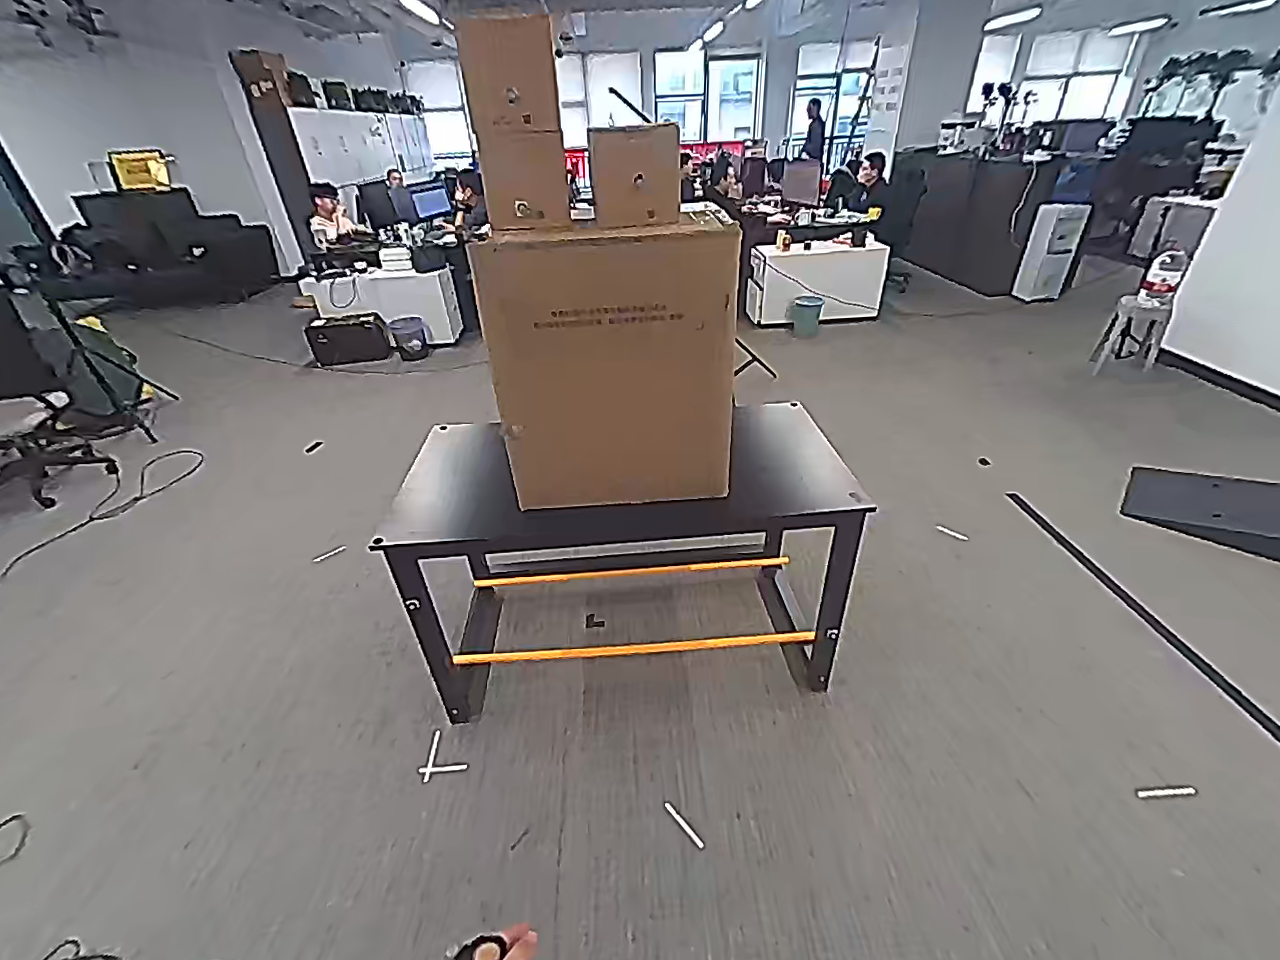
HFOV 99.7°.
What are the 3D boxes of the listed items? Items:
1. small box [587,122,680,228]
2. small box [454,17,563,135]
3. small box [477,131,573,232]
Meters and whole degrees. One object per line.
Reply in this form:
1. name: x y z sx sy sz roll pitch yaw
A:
1. small box: -0.013 -0.616 1.097 0.168 0.176 0.179 -7 35 -5
2. small box: -0.239 -0.754 1.024 0.168 0.176 0.179 -6 34 -4
3. small box: -0.231 -0.618 1.117 0.168 0.176 0.179 -7 35 -6
